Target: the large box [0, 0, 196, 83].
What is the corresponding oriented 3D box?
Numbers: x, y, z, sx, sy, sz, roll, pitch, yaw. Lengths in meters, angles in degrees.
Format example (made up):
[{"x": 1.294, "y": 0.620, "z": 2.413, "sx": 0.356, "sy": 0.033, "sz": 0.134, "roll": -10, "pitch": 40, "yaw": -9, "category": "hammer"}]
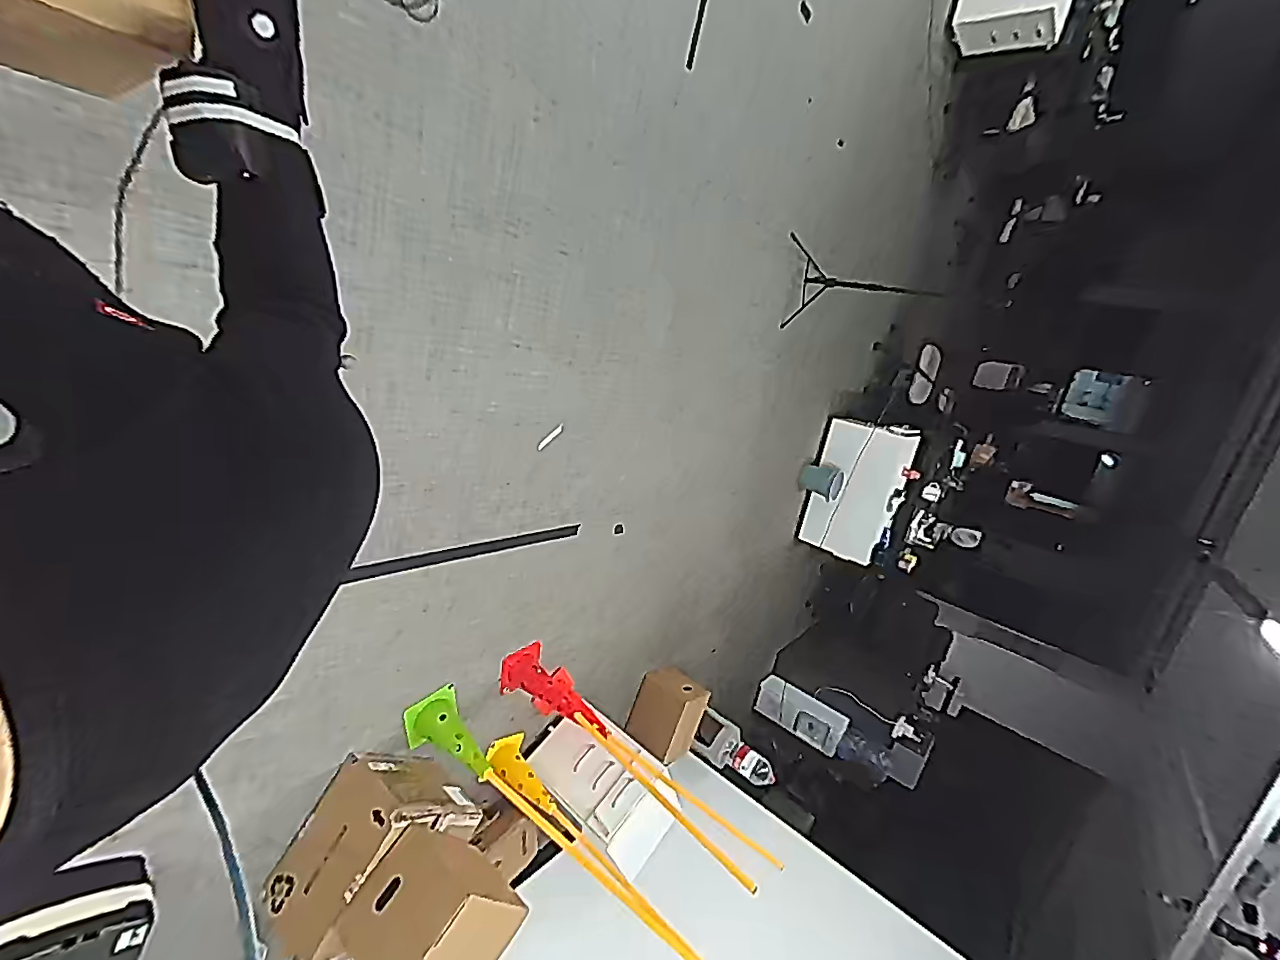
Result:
[{"x": -0.530, "y": -0.479, "z": 0.276, "sx": 0.408, "sy": 0.320, "sz": 0.320, "roll": -9, "pitch": 116, "yaw": -52, "category": "large box"}]
